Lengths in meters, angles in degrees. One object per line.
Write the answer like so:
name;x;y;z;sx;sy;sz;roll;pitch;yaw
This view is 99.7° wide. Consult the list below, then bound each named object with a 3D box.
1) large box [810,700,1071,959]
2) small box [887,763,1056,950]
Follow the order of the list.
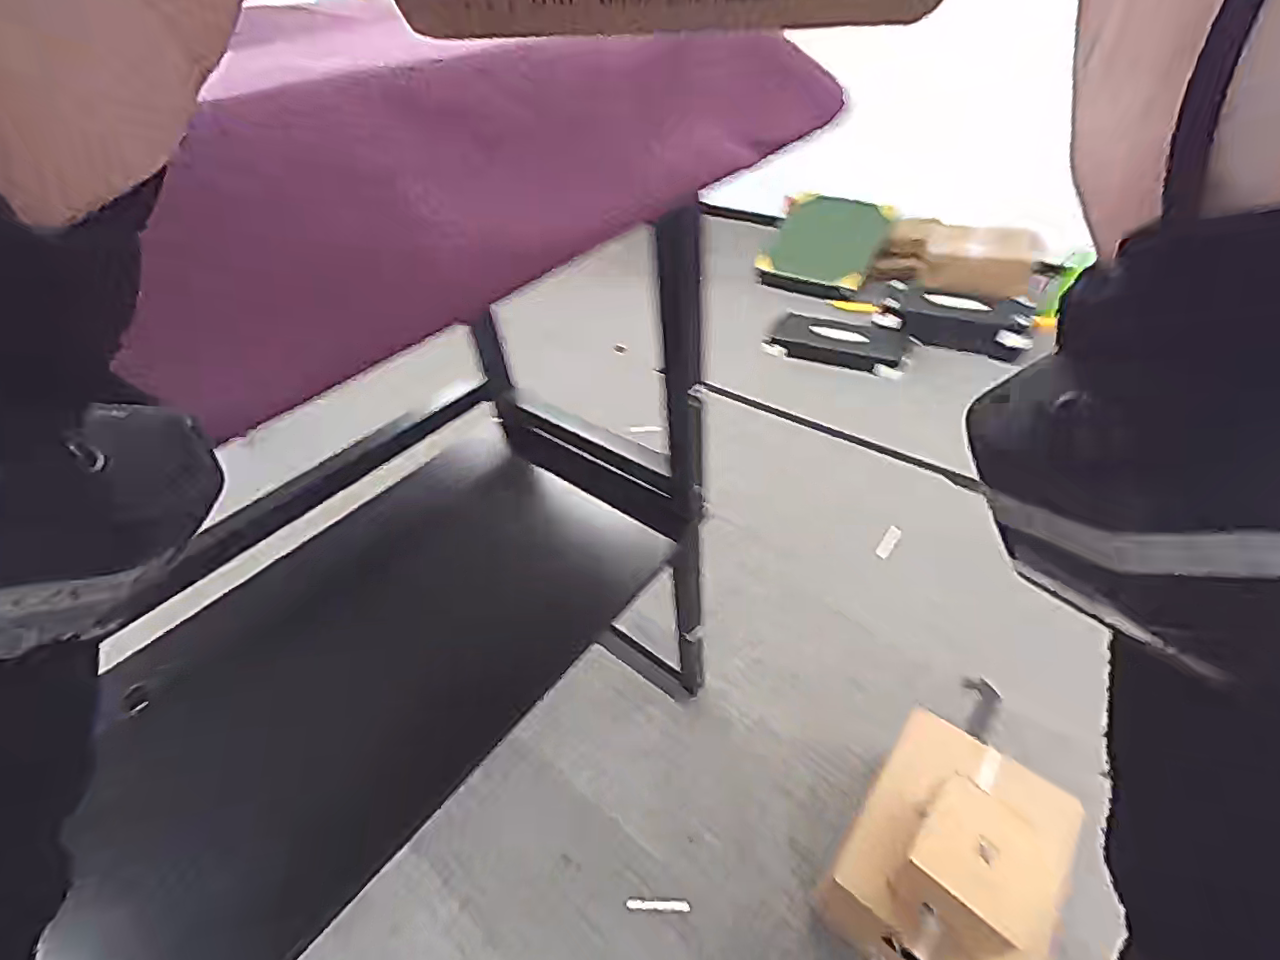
large box;0.589;0.757;1.095;0.320;0.320;0.408;28;53;29
small box;0.534;0.618;0.891;0.168;0.176;0.179;30;55;33
